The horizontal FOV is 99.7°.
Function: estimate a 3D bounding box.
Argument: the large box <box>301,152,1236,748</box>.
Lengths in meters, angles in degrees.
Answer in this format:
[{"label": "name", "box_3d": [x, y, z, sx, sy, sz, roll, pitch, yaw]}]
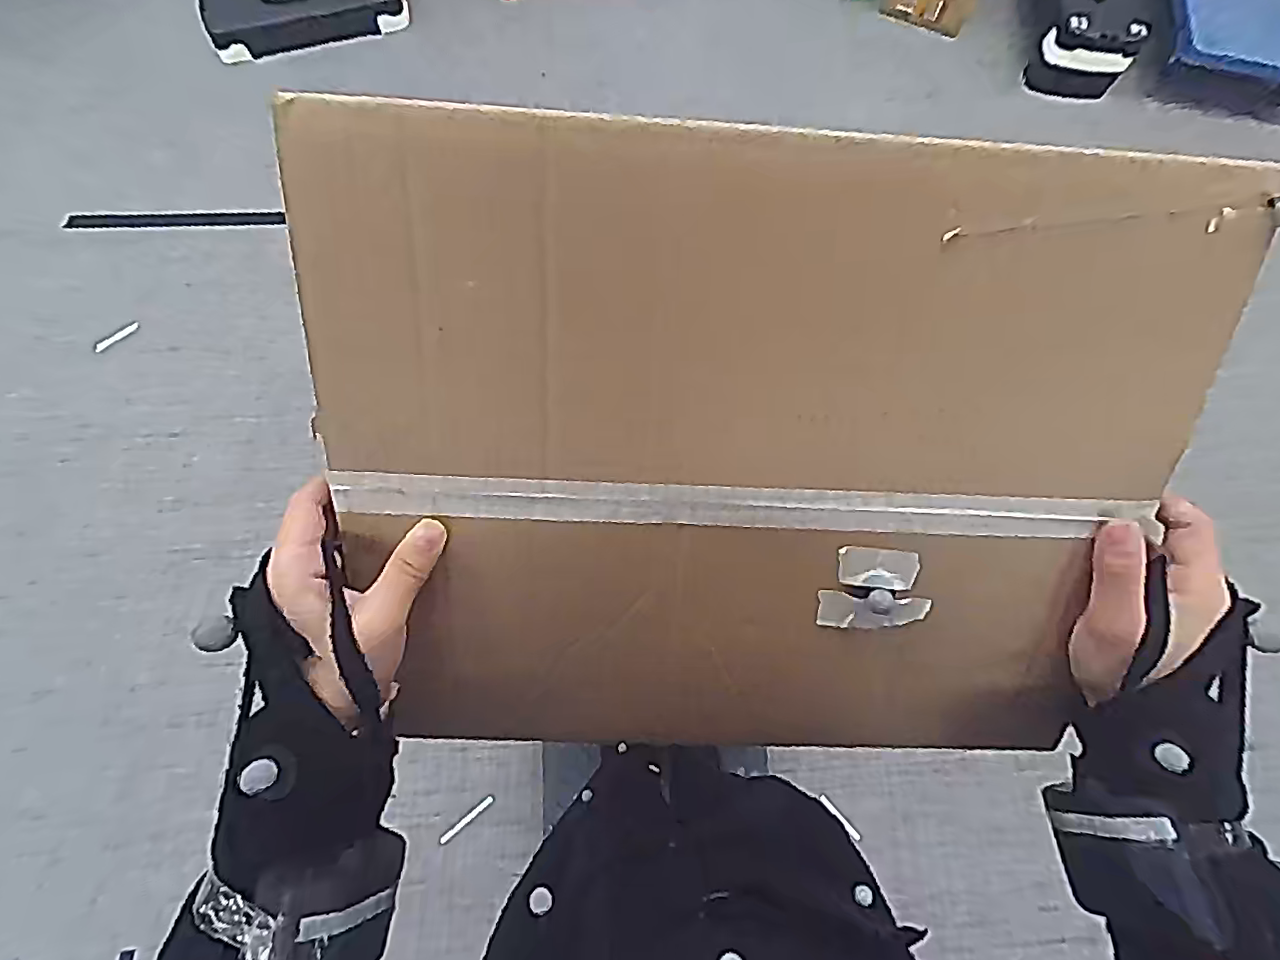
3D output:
[{"label": "large box", "box_3d": [0.049, -0.035, 0.415, 0.408, 0.320, 0.320, 2, 112, -4]}]
